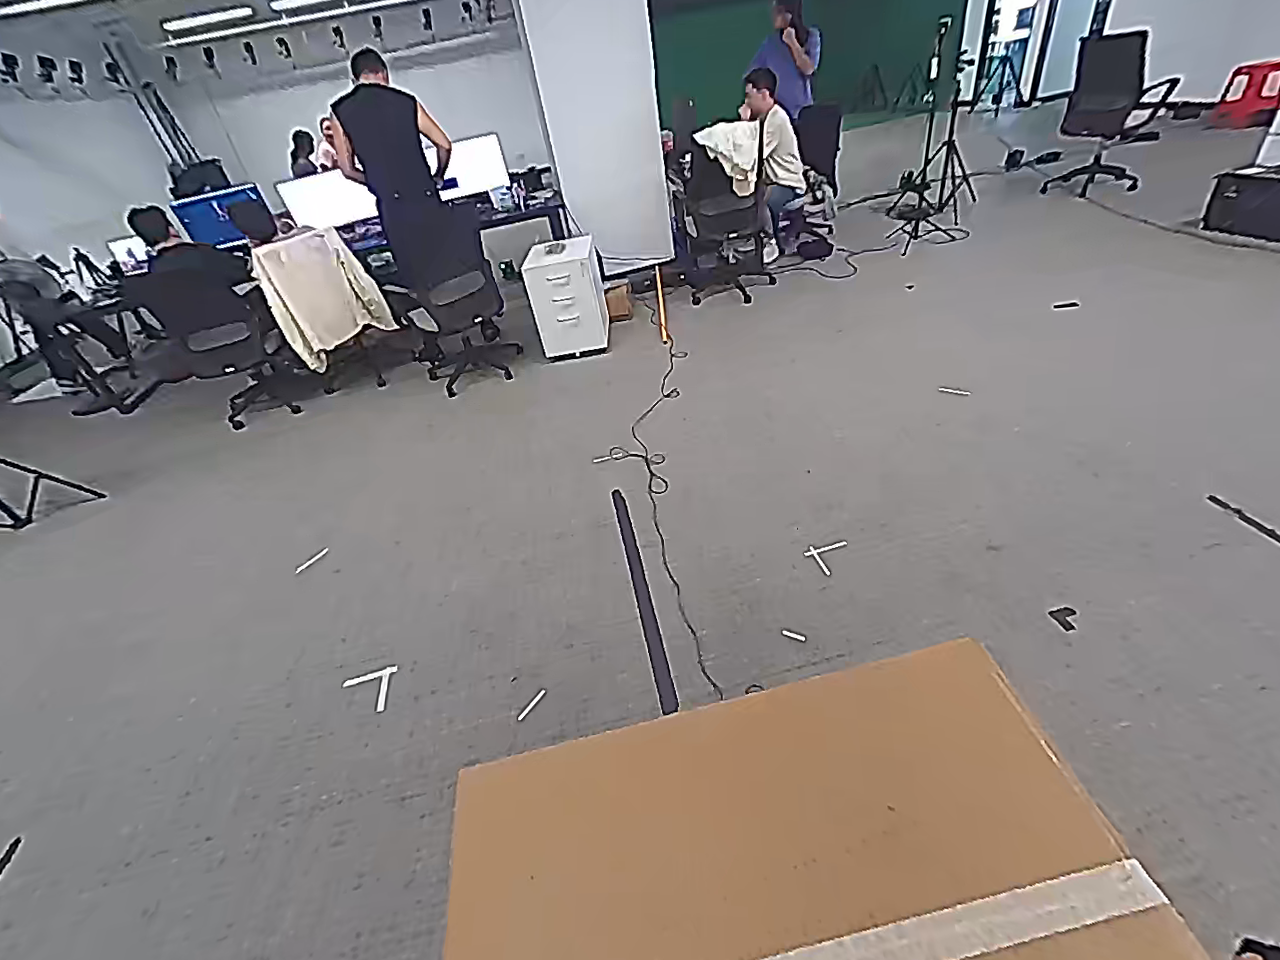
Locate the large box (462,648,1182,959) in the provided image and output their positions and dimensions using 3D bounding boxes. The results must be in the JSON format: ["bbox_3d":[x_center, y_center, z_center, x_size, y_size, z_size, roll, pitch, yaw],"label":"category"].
[{"bbox_3d":[0.116,0.385,0.407,0.408,0.320,0.320,-15,42,0],"label":"large box"}]
